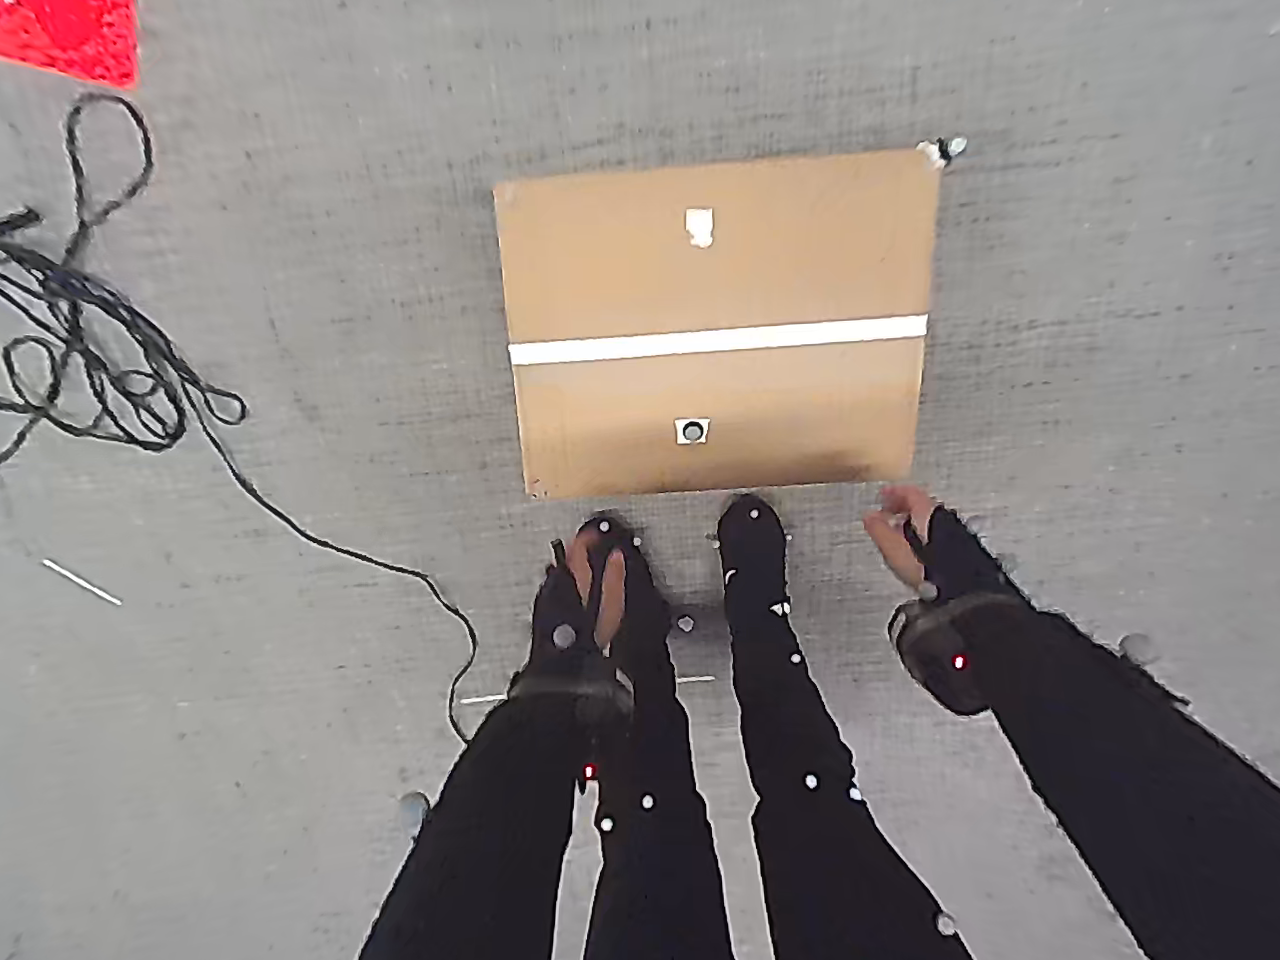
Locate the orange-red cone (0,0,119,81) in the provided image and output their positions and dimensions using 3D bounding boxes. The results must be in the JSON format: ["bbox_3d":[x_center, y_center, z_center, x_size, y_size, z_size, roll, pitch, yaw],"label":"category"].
[{"bbox_3d":[-0.775,-0.594,0.530,0.199,0.360,0.198,14,106,-2],"label":"orange-red cone"}]
